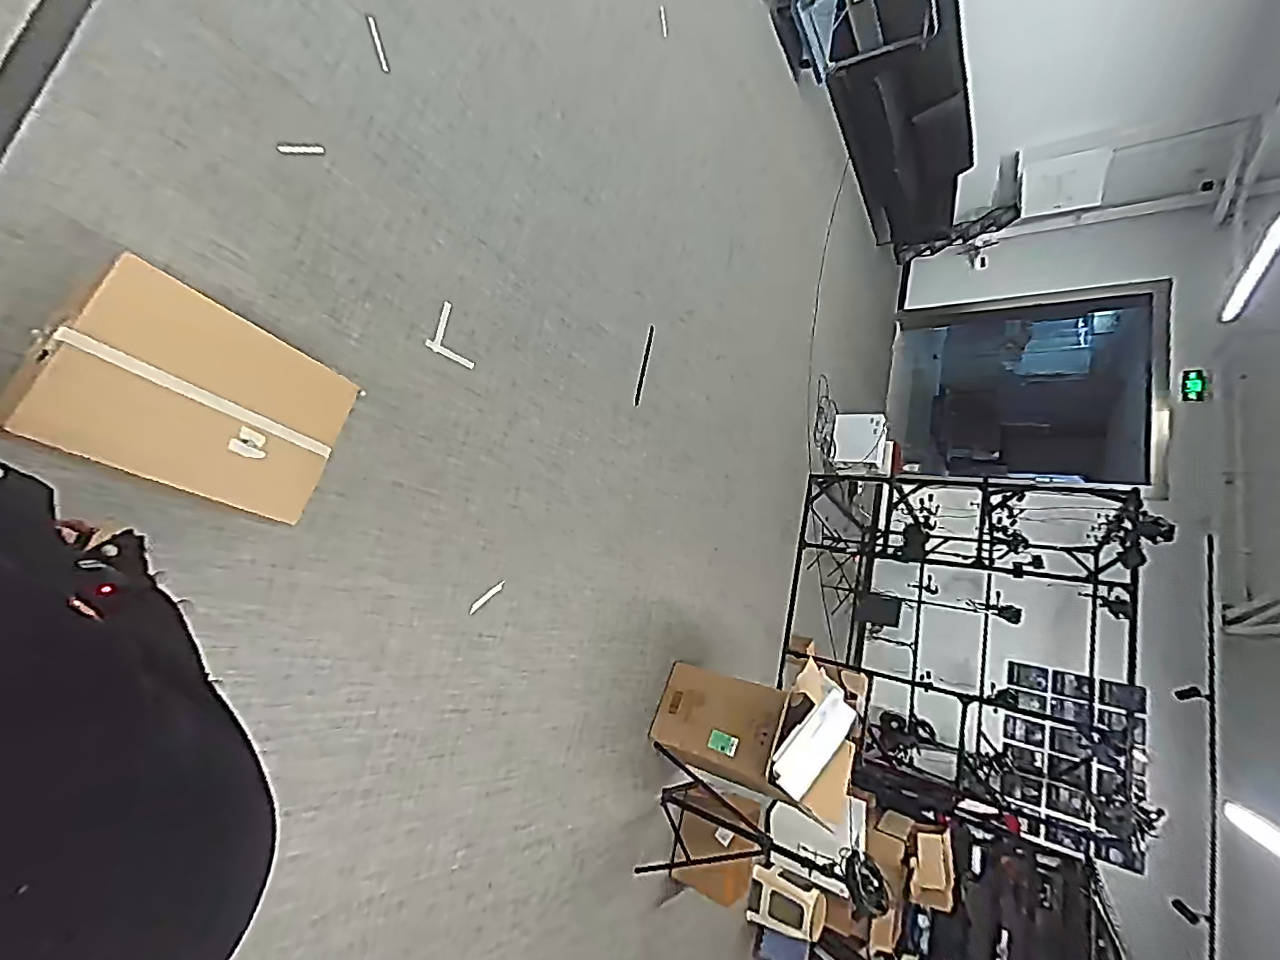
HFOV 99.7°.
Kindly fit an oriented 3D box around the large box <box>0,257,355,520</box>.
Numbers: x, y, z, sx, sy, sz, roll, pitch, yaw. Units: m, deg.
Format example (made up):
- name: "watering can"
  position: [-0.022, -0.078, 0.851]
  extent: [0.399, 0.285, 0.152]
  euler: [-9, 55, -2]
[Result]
- name: "large box"
  position: [-0.855, -0.141, 1.016]
  extent: [0.408, 0.320, 0.320]
  euler: [38, 63, -51]
